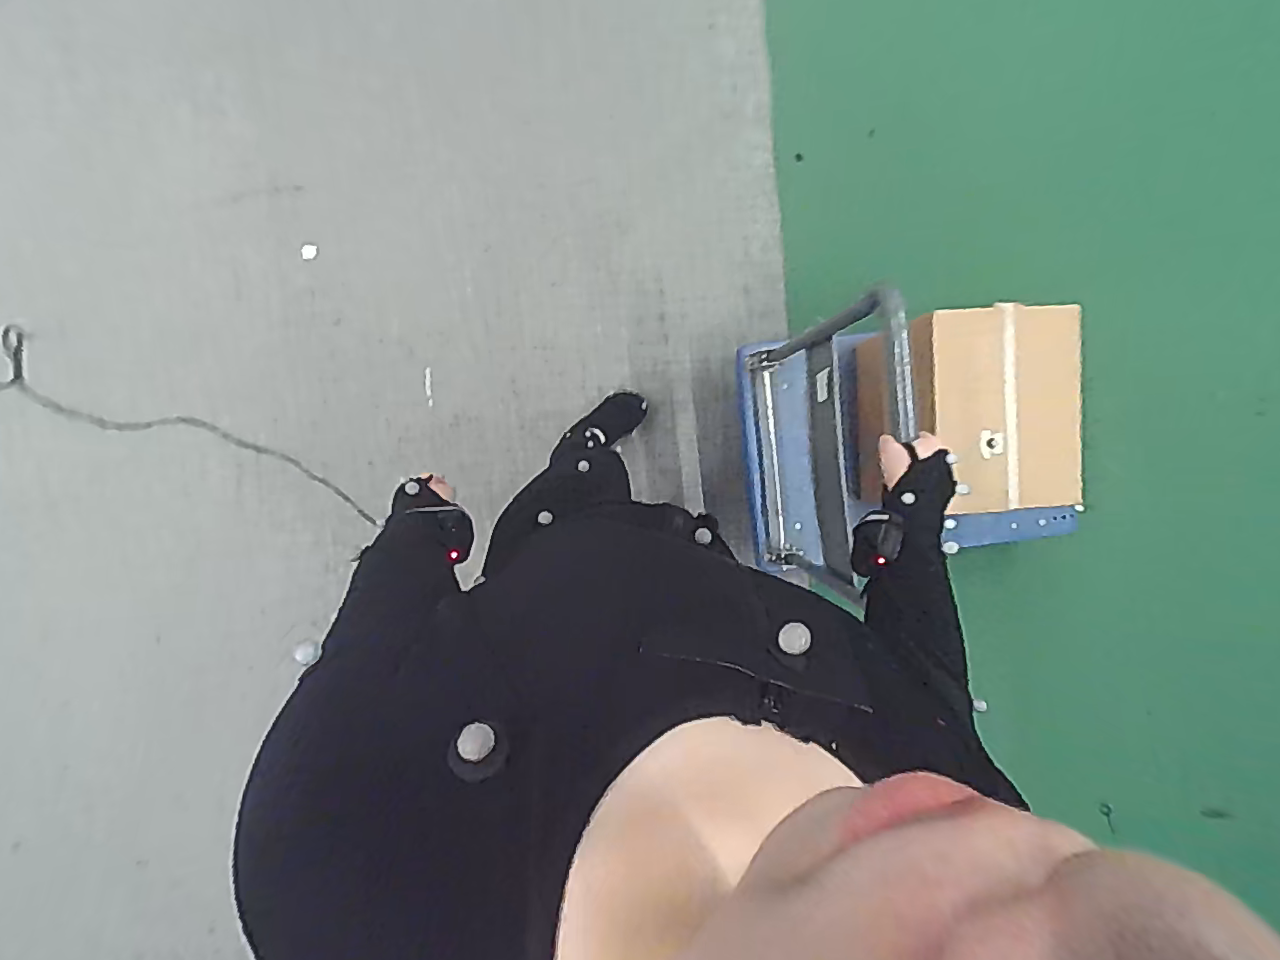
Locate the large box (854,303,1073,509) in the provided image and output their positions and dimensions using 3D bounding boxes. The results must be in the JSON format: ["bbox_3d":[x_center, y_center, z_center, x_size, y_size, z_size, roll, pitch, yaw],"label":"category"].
[{"bbox_3d":[0.713,-0.159,1.234,0.320,0.320,0.408,-4,93,-5],"label":"large box"}]
